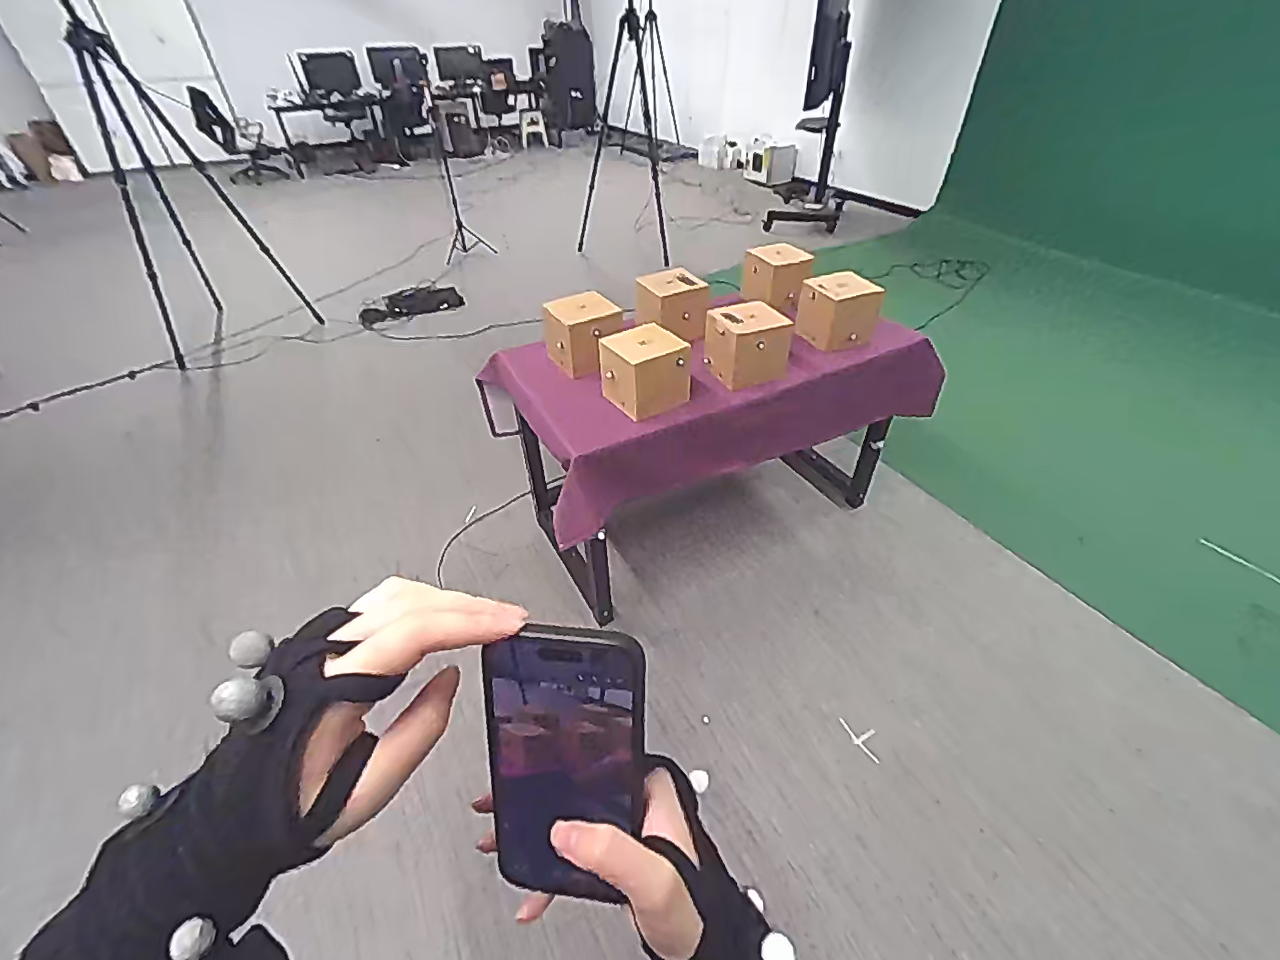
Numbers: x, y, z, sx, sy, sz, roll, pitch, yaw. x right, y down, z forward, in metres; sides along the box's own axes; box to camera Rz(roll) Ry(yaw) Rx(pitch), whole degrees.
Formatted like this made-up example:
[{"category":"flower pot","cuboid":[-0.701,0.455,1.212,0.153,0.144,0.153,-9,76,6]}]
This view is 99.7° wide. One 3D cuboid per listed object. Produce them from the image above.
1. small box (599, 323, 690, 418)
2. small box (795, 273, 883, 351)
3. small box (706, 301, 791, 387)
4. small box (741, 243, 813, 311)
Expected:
[{"category":"small box","cuboid":[0.012,-0.282,1.406,0.179,0.176,0.168,-24,46,-26]},{"category":"small box","cuboid":[0.601,-0.516,1.659,0.179,0.176,0.168,-15,43,-16]},{"category":"small box","cuboid":[0.294,-0.376,1.506,0.179,0.176,0.168,-15,43,-17]},{"category":"small box","cuboid":[0.466,-0.701,1.873,0.168,0.176,0.179,-18,45,-18]}]
